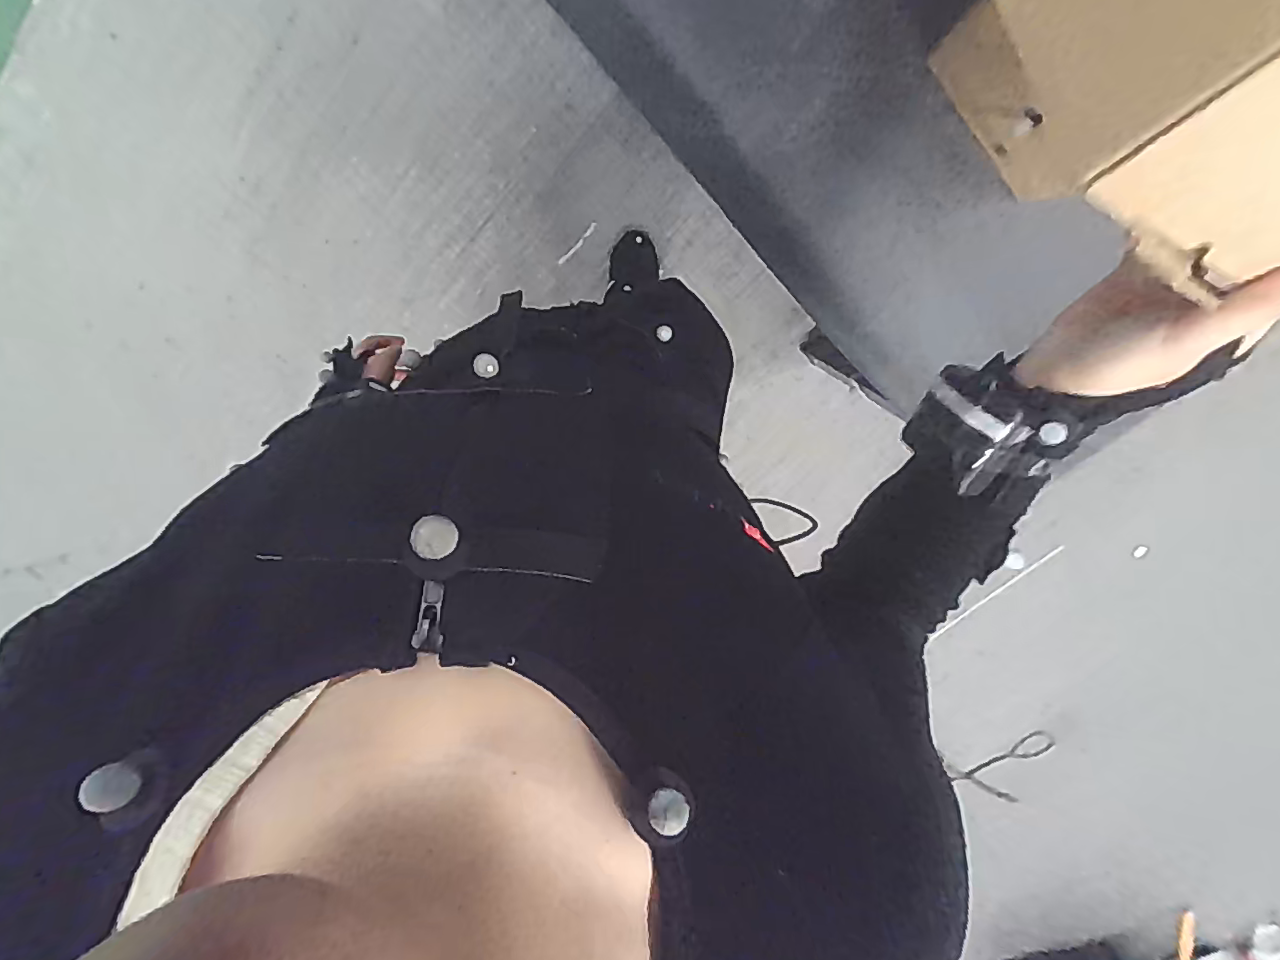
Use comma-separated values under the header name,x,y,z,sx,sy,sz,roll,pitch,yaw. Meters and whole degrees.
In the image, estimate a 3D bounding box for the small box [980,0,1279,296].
name,x,y,z,sx,sy,sz,roll,pitch,yaw
small box,0.236,-0.196,0.170,0.168,0.176,0.179,5,159,-26

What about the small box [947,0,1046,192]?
name,x,y,z,sx,sy,sz,roll,pitch,yaw
small box,0.371,-0.347,0.406,0.168,0.176,0.179,41,107,-17
